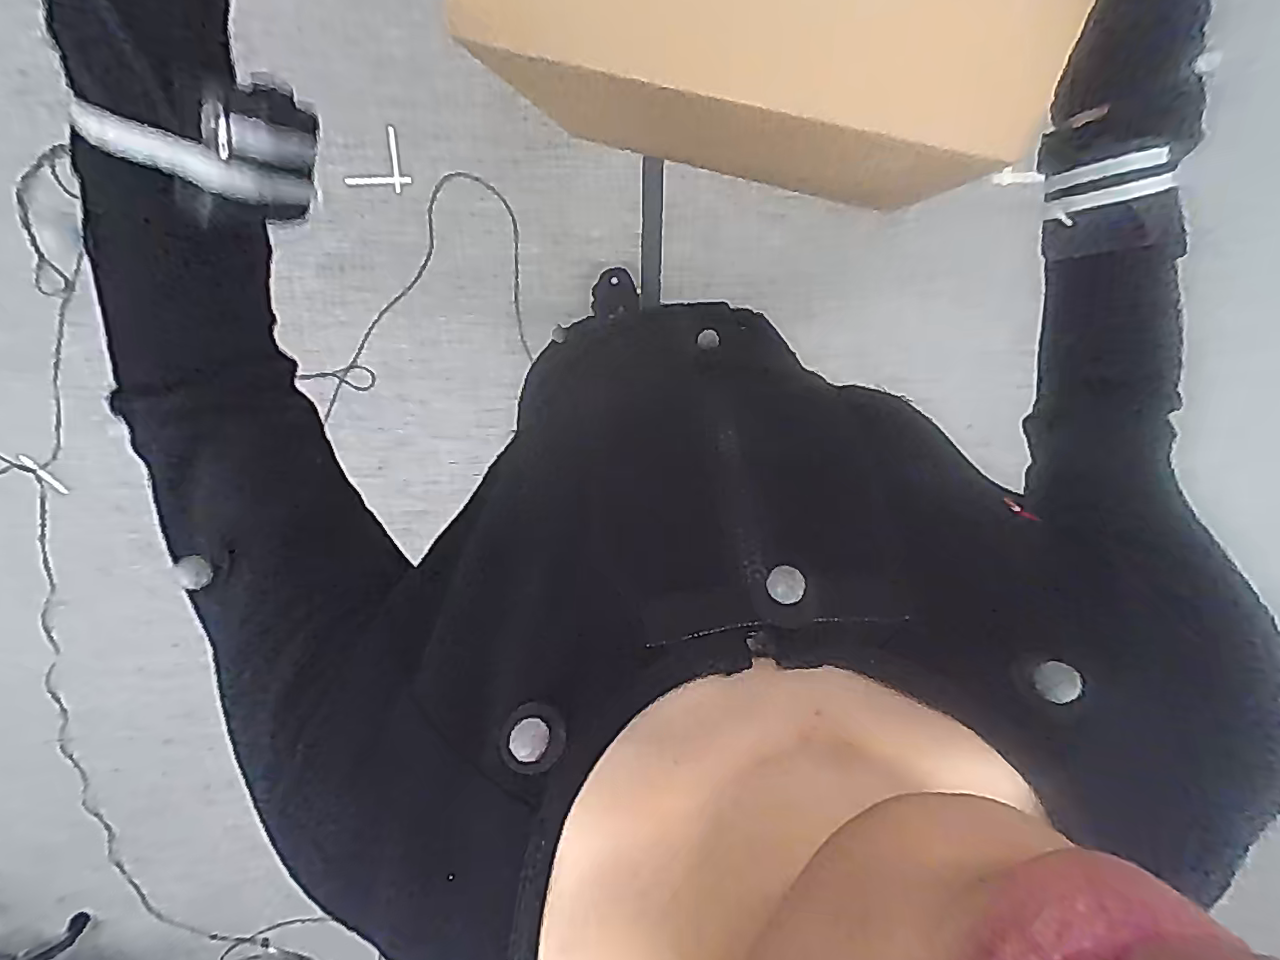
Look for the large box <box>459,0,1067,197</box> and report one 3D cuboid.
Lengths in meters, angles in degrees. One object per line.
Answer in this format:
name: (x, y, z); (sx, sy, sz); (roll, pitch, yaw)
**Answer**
large box: (0.111, -0.465, 0.457); (0.408, 0.320, 0.320); (15, 113, 3)
